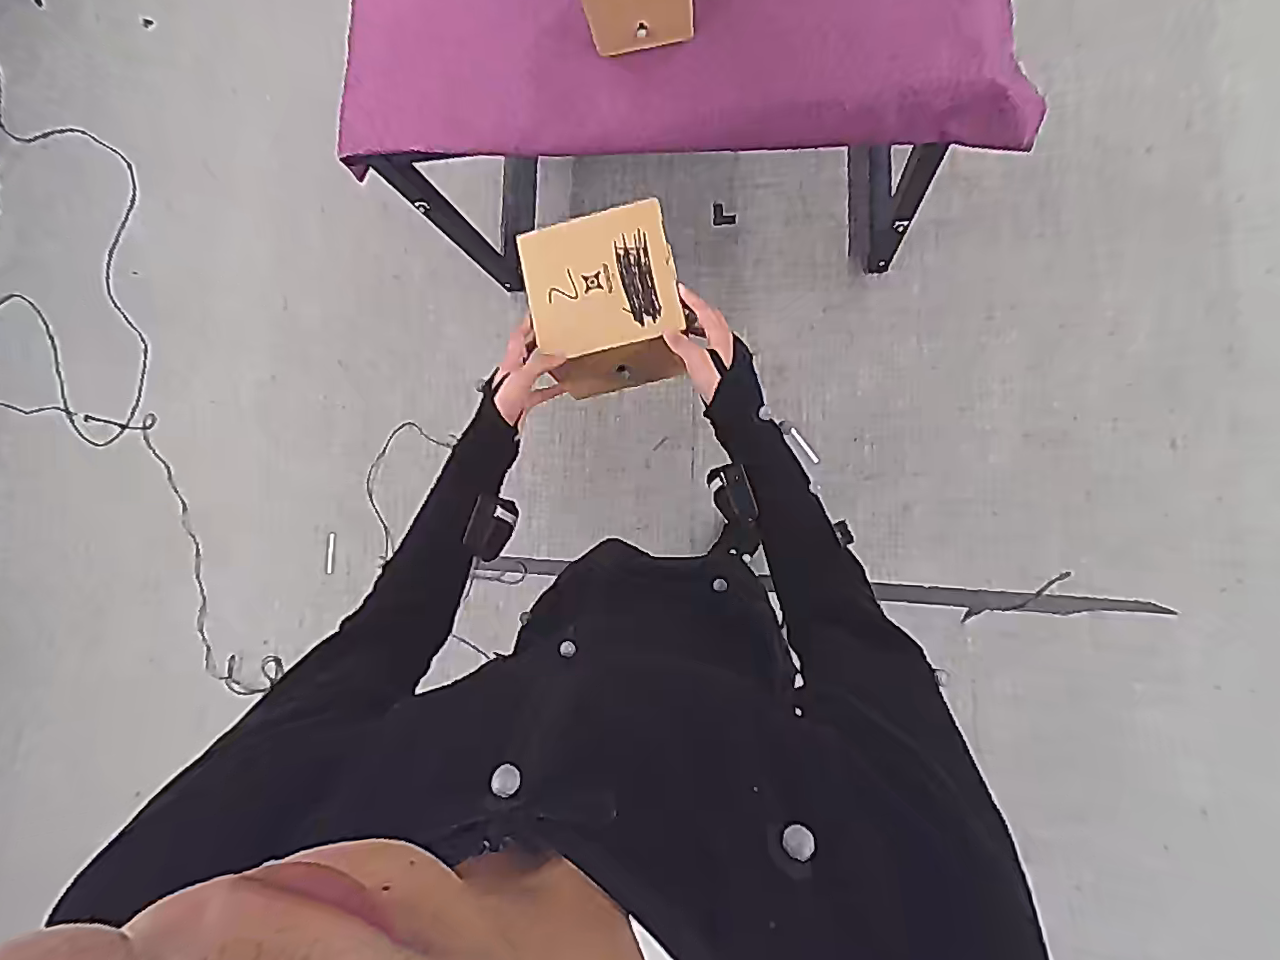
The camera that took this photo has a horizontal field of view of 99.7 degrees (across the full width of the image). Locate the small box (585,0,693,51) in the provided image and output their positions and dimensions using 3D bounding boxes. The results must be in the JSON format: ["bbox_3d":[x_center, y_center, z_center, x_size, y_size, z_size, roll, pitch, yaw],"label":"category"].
[{"bbox_3d":[-0.003,-0.872,0.904,0.179,0.176,0.168,-1,84,11],"label":"small box"}]
